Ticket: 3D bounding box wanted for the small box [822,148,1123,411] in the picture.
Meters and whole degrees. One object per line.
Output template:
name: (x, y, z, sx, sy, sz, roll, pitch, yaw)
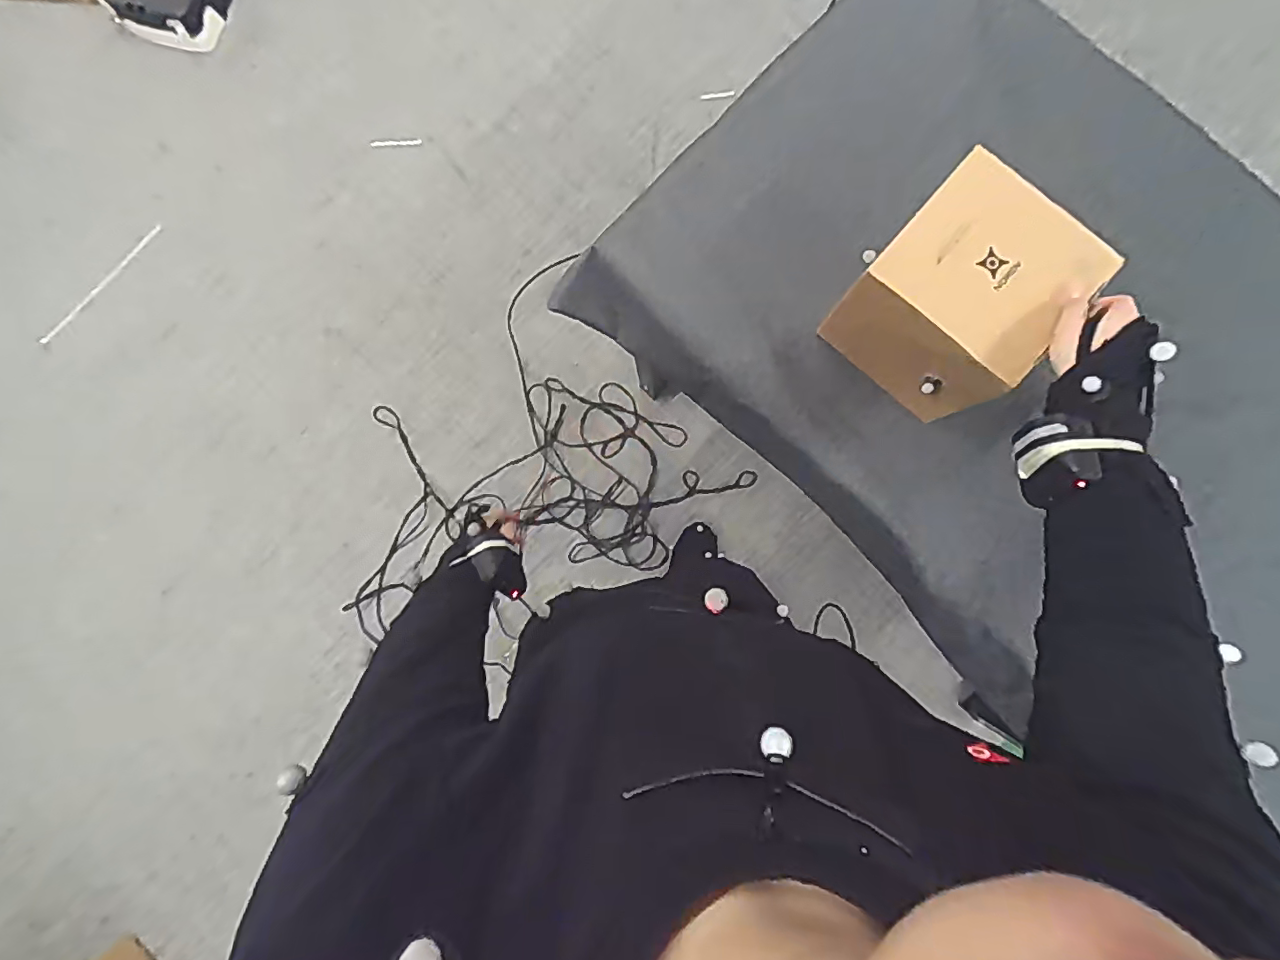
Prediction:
small box: (0.331, -0.192, 0.579, 0.179, 0.176, 0.168, 41, 87, 6)
